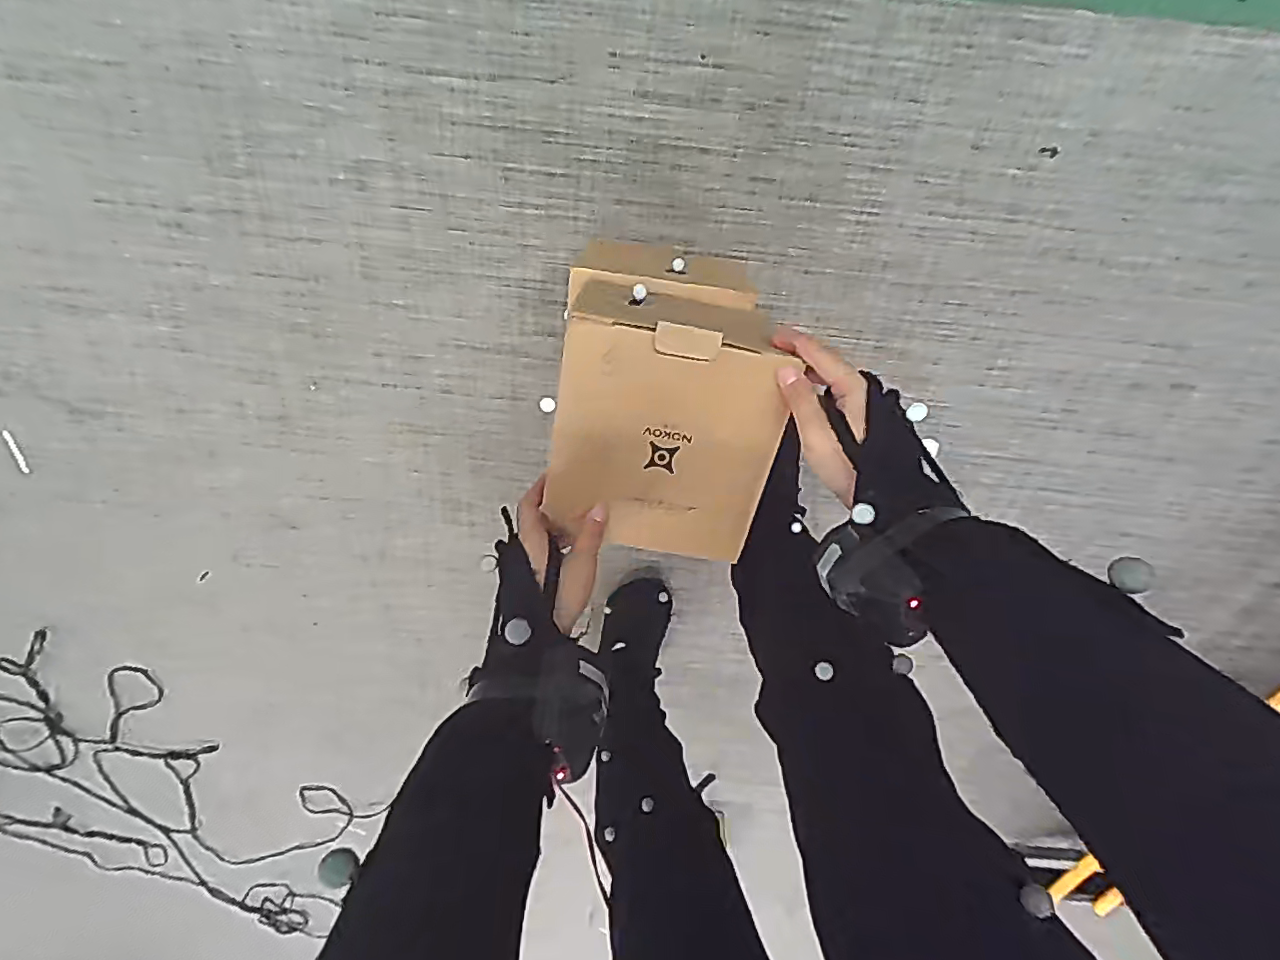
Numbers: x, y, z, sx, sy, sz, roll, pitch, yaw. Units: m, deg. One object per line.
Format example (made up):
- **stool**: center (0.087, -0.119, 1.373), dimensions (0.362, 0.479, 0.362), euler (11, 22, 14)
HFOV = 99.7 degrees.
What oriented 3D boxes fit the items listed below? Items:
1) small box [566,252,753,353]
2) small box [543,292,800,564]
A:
- **small box**: center (0.013, -0.152, 0.613), dimensions (0.179, 0.176, 0.168), euler (8, 121, -2)
- **small box**: center (0.017, -0.055, 0.474), dimensions (0.168, 0.176, 0.179), euler (10, 117, -4)
